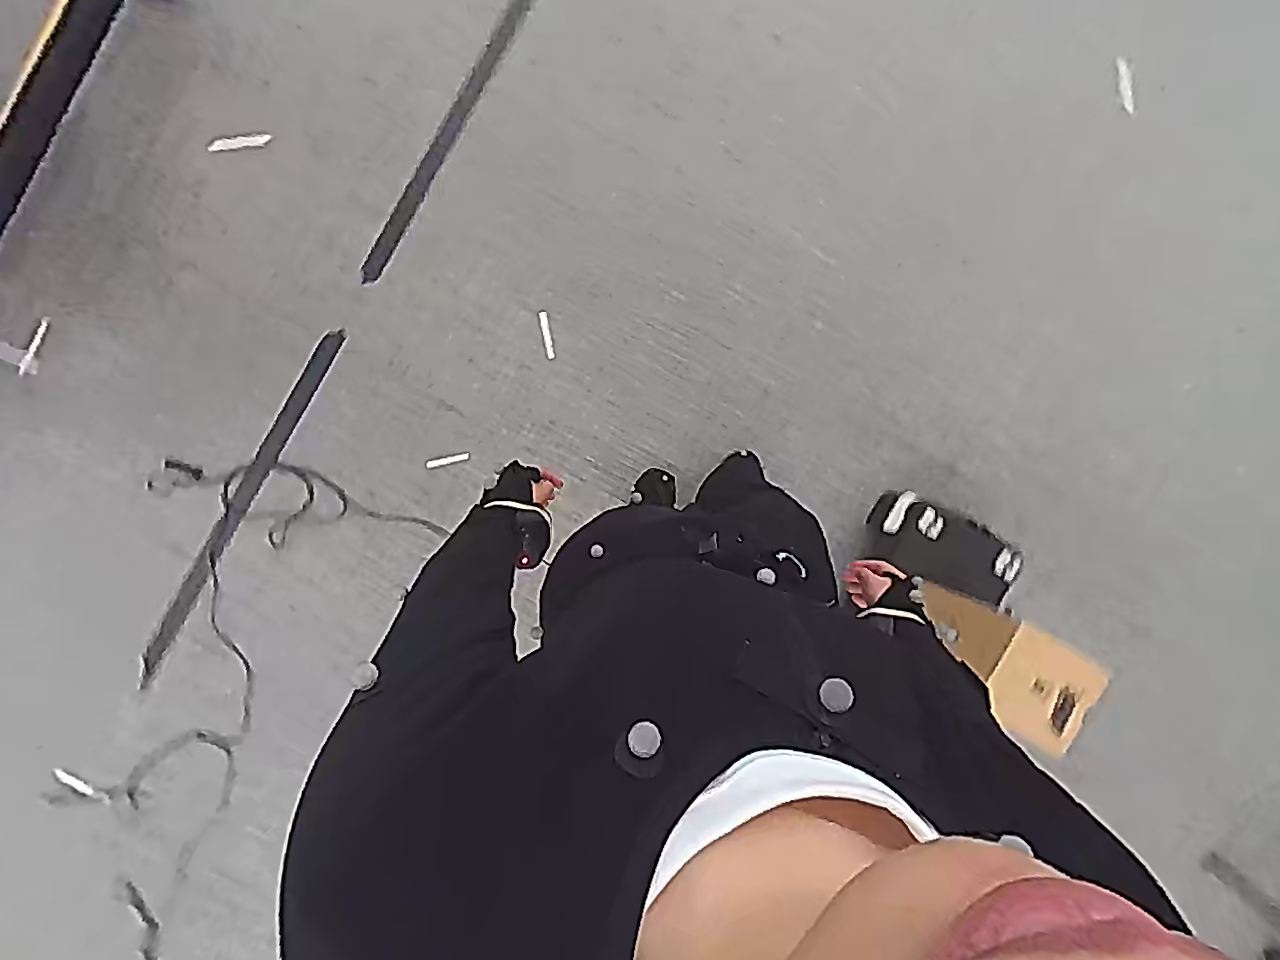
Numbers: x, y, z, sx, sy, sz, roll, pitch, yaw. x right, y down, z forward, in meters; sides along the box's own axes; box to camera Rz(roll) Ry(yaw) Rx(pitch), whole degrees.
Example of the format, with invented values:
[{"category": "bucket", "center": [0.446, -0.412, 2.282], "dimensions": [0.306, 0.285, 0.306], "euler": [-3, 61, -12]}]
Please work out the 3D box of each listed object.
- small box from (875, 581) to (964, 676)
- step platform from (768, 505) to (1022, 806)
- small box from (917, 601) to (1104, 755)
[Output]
[{"category": "small box", "center": [0.634, 0.331, 1.127], "dimensions": [0.179, 0.176, 0.168], "euler": [31, 90, -3]}, {"category": "step platform", "center": [0.602, 0.407, 1.302], "dimensions": [0.286, 0.204, 0.684], "euler": [29, 90, -3]}, {"category": "small box", "center": [0.644, 0.338, 0.962], "dimensions": [0.179, 0.176, 0.168], "euler": [31, 90, -2]}]
